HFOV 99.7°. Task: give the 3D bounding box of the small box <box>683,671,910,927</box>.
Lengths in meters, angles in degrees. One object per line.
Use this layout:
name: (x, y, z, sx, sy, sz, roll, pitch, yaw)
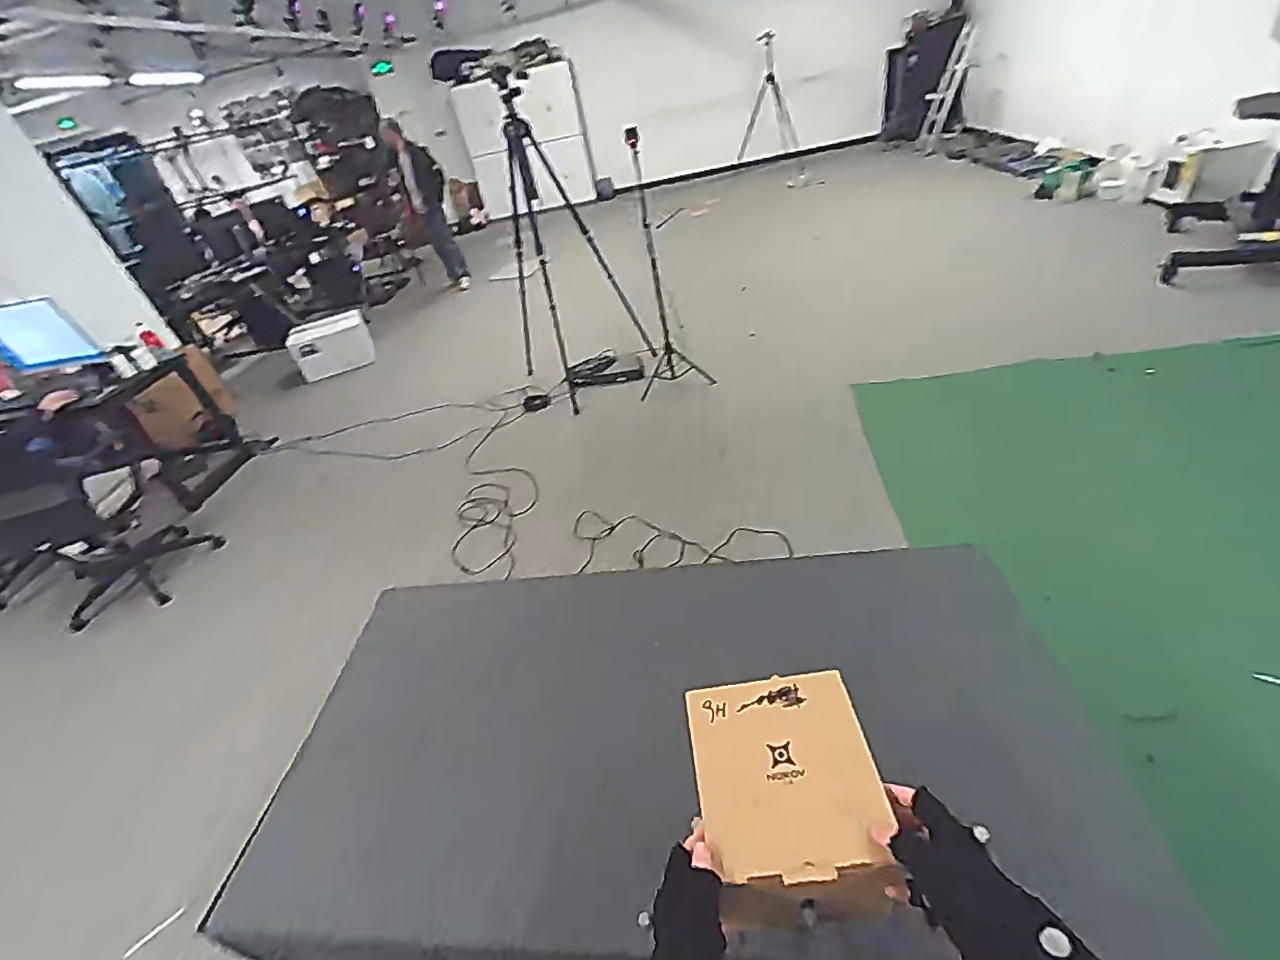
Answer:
small box: (0.143, 0.324, 0.545, 0.168, 0.176, 0.179, -9, 40, 2)
